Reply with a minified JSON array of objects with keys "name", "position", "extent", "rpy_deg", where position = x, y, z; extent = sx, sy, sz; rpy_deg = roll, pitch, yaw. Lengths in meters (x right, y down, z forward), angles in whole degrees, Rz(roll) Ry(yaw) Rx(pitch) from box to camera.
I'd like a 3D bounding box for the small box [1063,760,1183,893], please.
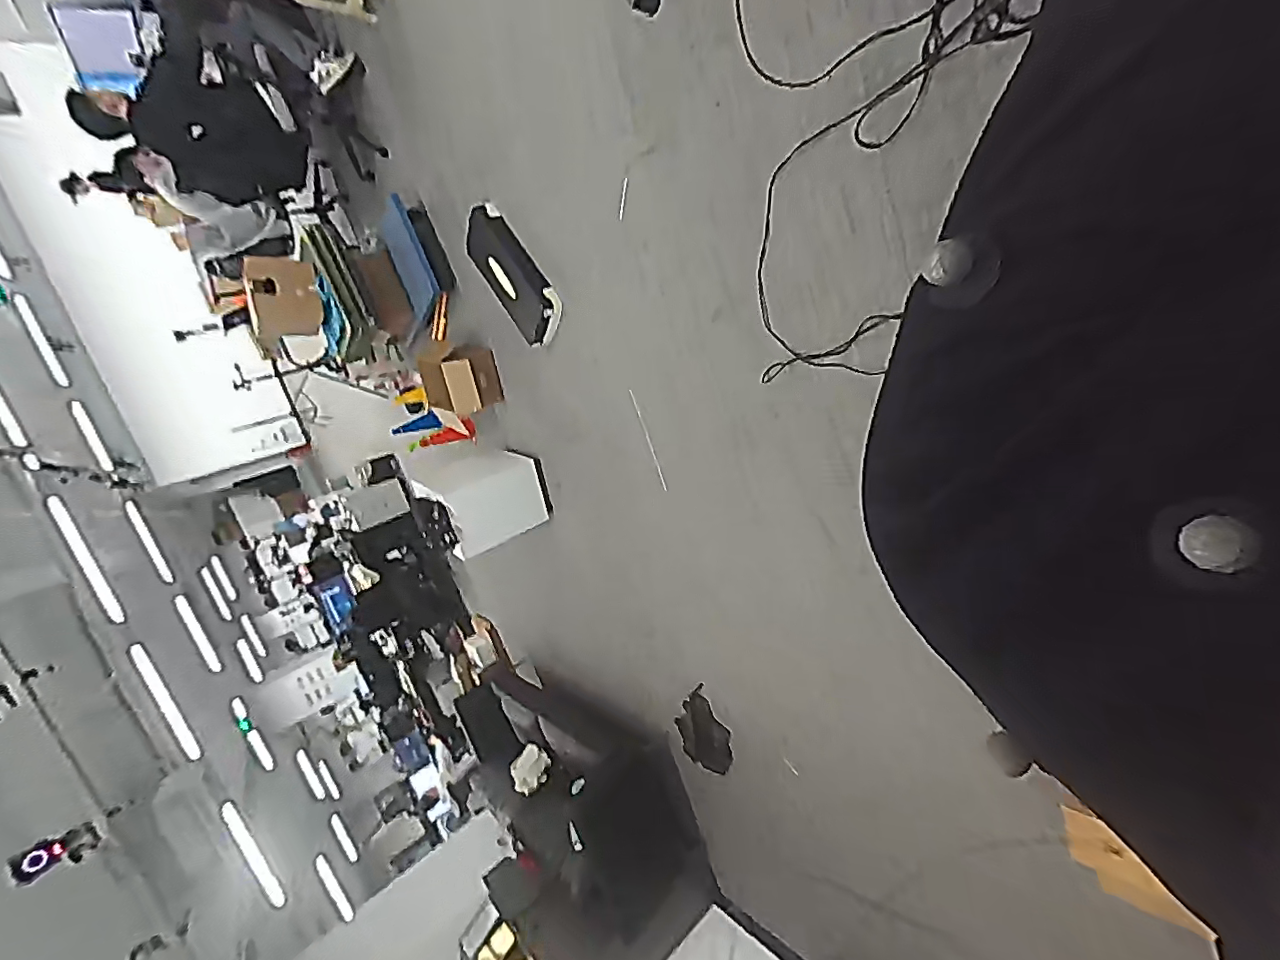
[{"name":"small box","position":[1.141,0.800,1.273],"extent":[0.179,0.176,0.168],"rpy_deg":[-5,108,55]}]
